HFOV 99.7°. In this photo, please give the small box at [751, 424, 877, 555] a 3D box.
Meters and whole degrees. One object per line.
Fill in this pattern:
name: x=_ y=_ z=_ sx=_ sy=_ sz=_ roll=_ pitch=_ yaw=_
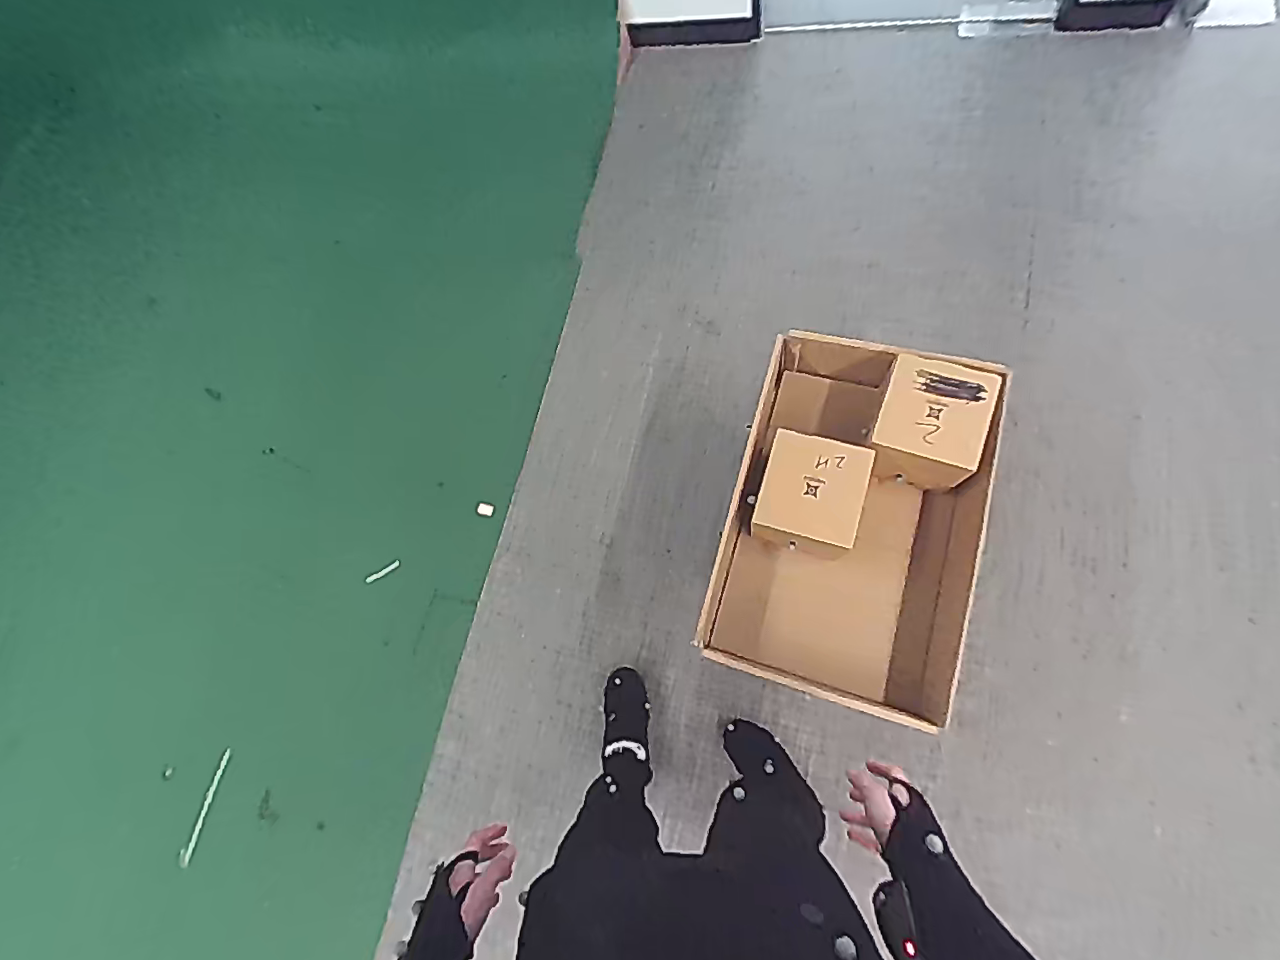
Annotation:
small box: x=0.302 y=0.025 z=0.962 sx=0.168 sy=0.176 sz=0.179 roll=16 pitch=79 yaw=15
